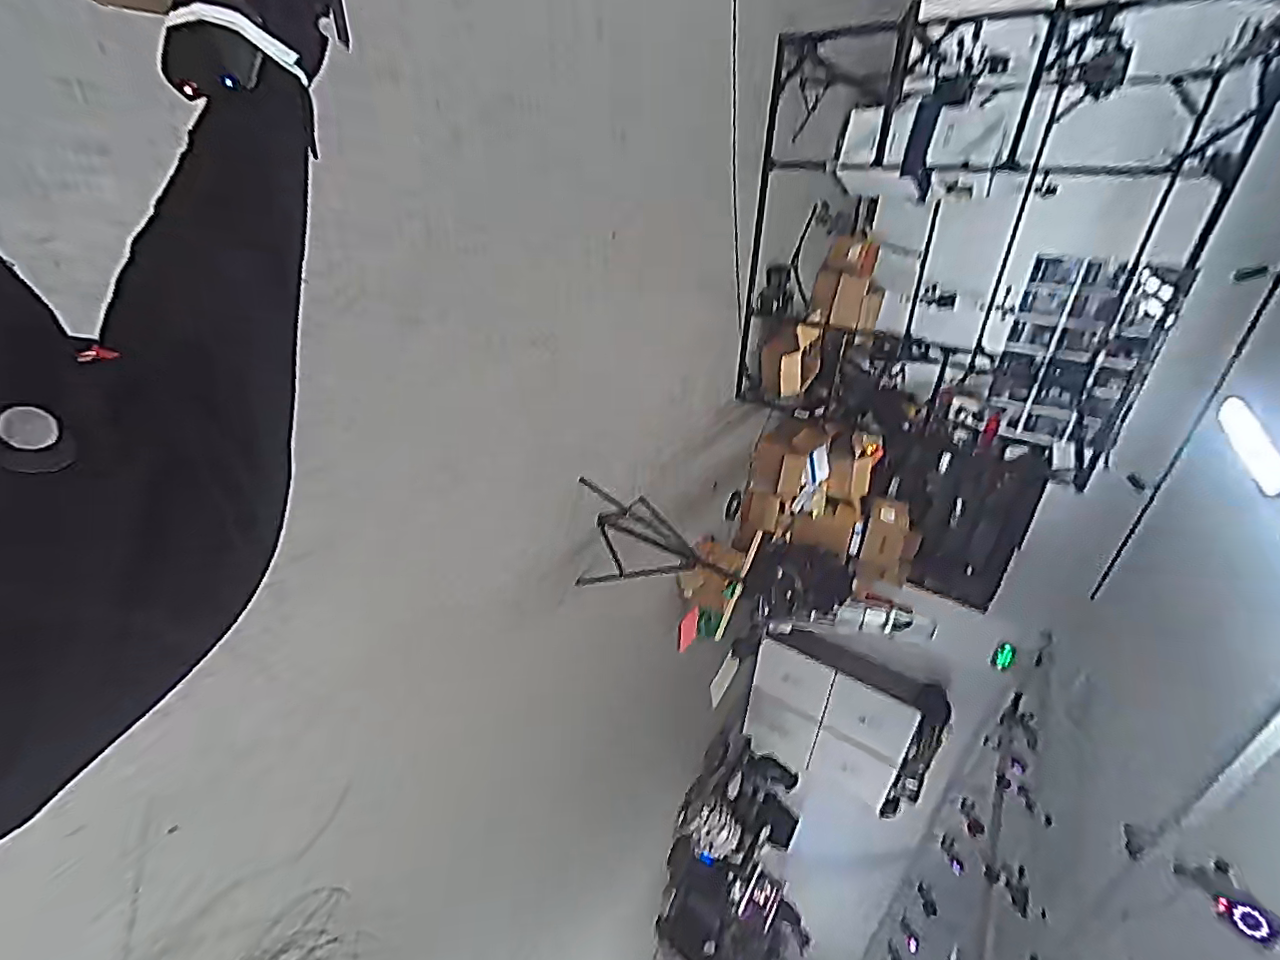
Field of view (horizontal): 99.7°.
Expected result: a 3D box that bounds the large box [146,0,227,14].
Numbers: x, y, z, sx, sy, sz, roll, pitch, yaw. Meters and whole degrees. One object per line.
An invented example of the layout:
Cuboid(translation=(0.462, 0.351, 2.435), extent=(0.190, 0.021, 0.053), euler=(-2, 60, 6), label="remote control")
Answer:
Cuboid(translation=(-0.472, -0.577, 0.292), extent=(0.408, 0.320, 0.320), euler=(9, 110, -62), label="large box")
